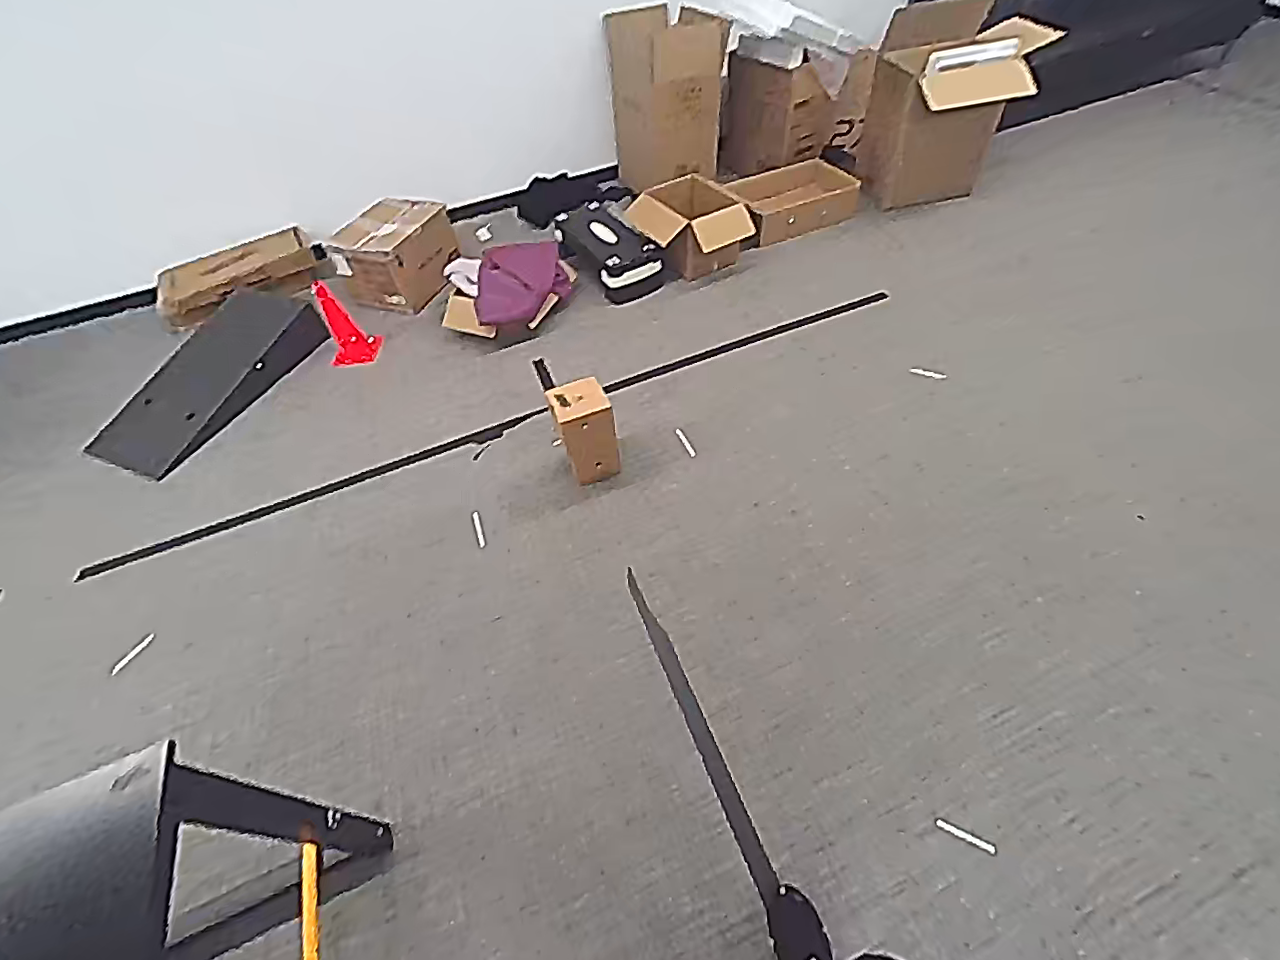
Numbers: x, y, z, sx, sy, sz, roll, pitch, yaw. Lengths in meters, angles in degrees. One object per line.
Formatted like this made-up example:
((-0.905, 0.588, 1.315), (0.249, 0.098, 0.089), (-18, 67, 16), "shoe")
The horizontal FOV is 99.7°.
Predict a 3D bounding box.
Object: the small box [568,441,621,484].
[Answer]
((-0.175, -0.106, 1.927), (0.168, 0.176, 0.179), (-19, 52, -10), "small box")

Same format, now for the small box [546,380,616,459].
((-0.192, -0.196, 1.787), (0.179, 0.176, 0.168), (-21, 52, -11), "small box")
